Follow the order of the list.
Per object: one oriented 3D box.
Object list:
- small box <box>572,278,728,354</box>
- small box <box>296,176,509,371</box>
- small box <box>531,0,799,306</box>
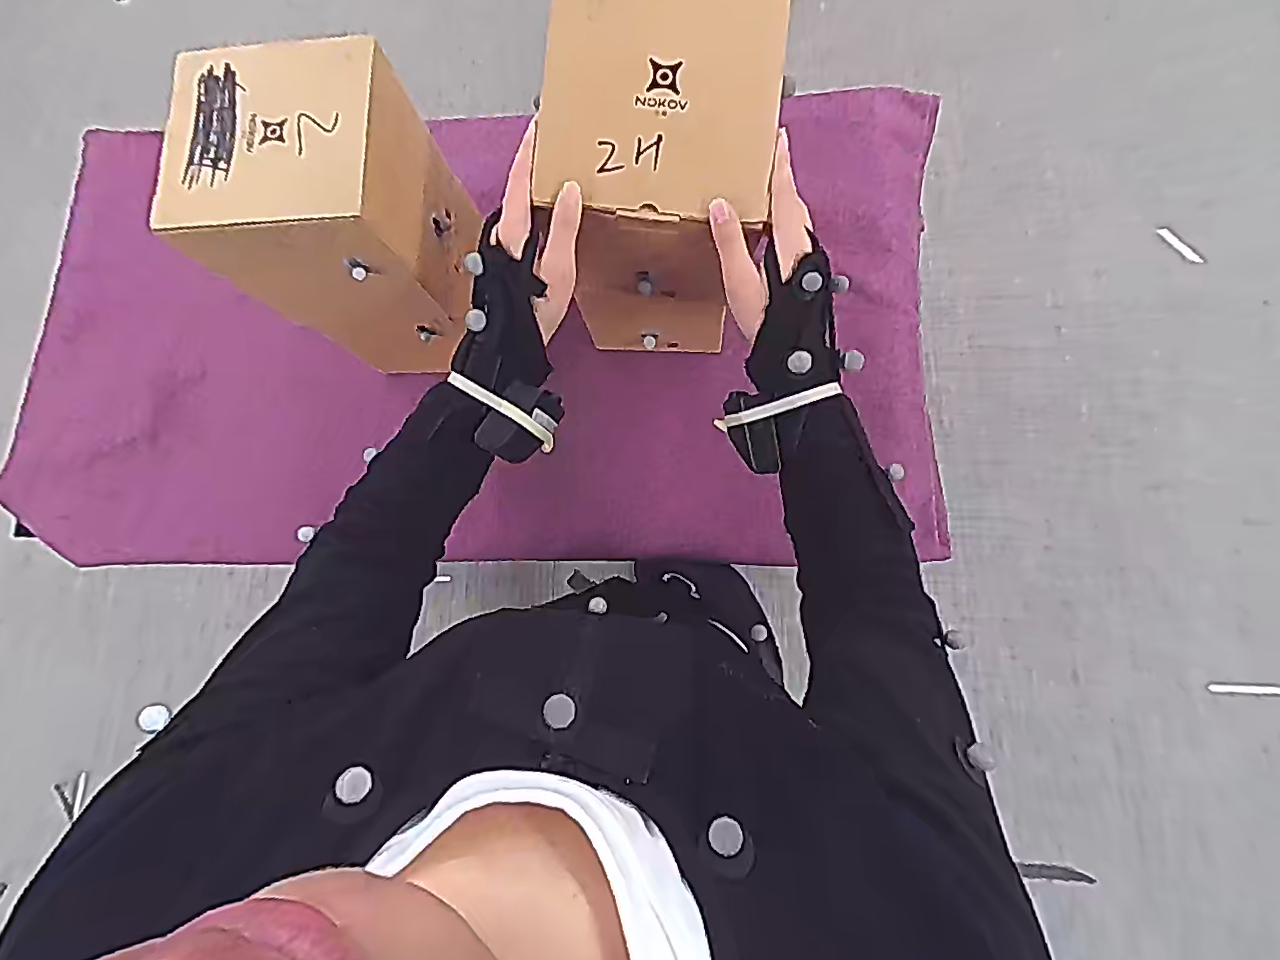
[{"bbox_3d":[0.023,-0.268,0.643,0.168,0.176,0.179,3,81,6],"label":"small box"},{"bbox_3d":[-0.278,-0.241,0.669,0.179,0.176,0.168,0,80,5],"label":"small box"},{"bbox_3d":[0.017,-0.265,0.444,0.168,0.176,0.179,7,89,1],"label":"small box"}]
